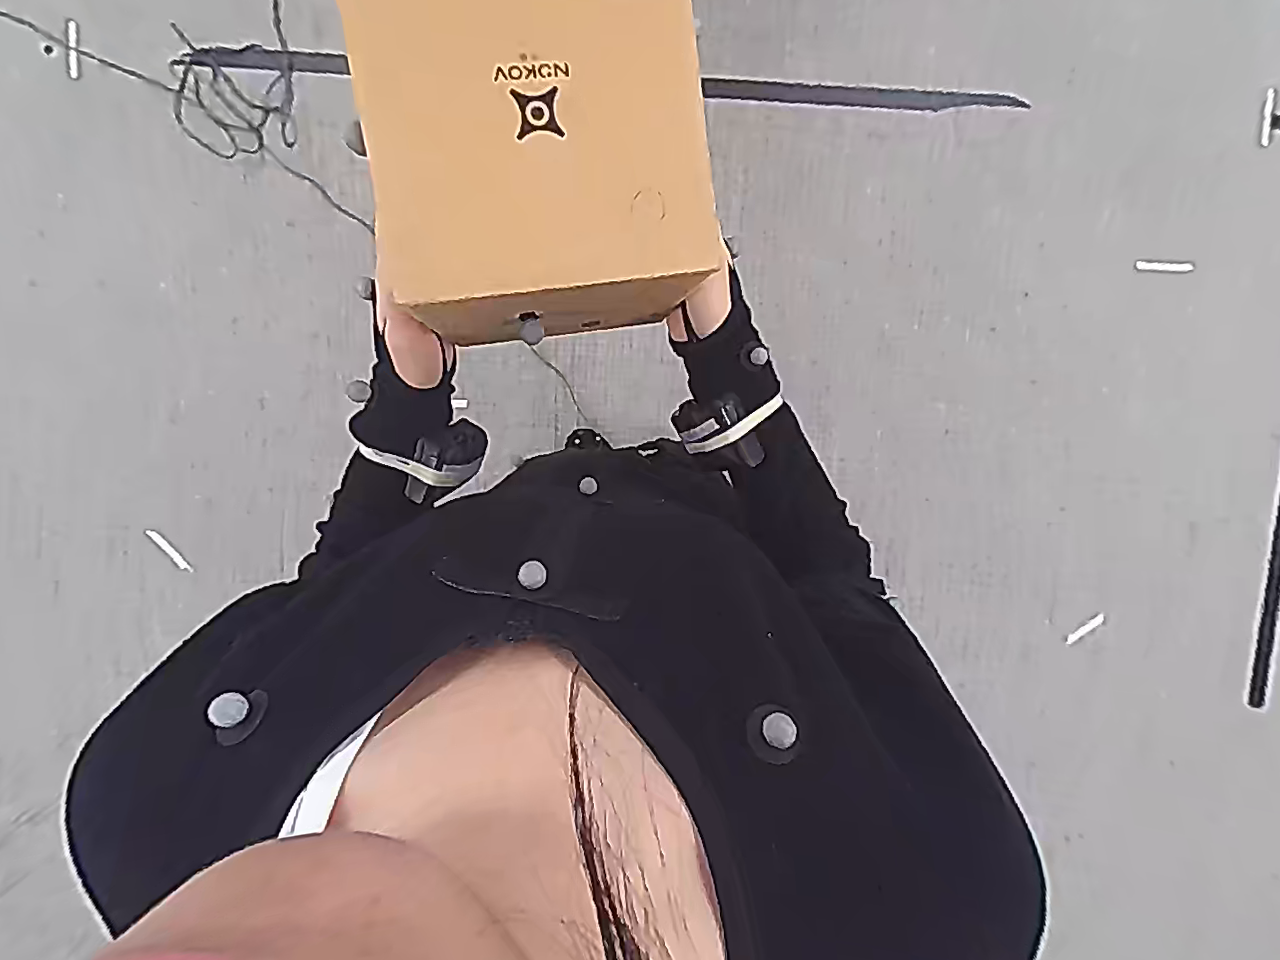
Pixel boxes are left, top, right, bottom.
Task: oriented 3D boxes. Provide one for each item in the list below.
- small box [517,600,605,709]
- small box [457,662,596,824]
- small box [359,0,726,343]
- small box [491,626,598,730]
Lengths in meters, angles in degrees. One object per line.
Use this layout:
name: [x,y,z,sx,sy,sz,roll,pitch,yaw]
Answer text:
small box: [-0.163,0.368,1.154,0.168,0.176,0.179,-1,94,0]
small box: [-0.163,0.393,0.828,0.168,0.176,0.179,-6,95,2]
small box: [-0.054,-0.189,0.346,0.168,0.176,0.179,-9,97,-7]
small box: [-0.167,0.376,0.992,0.168,0.176,0.179,-2,96,1]
